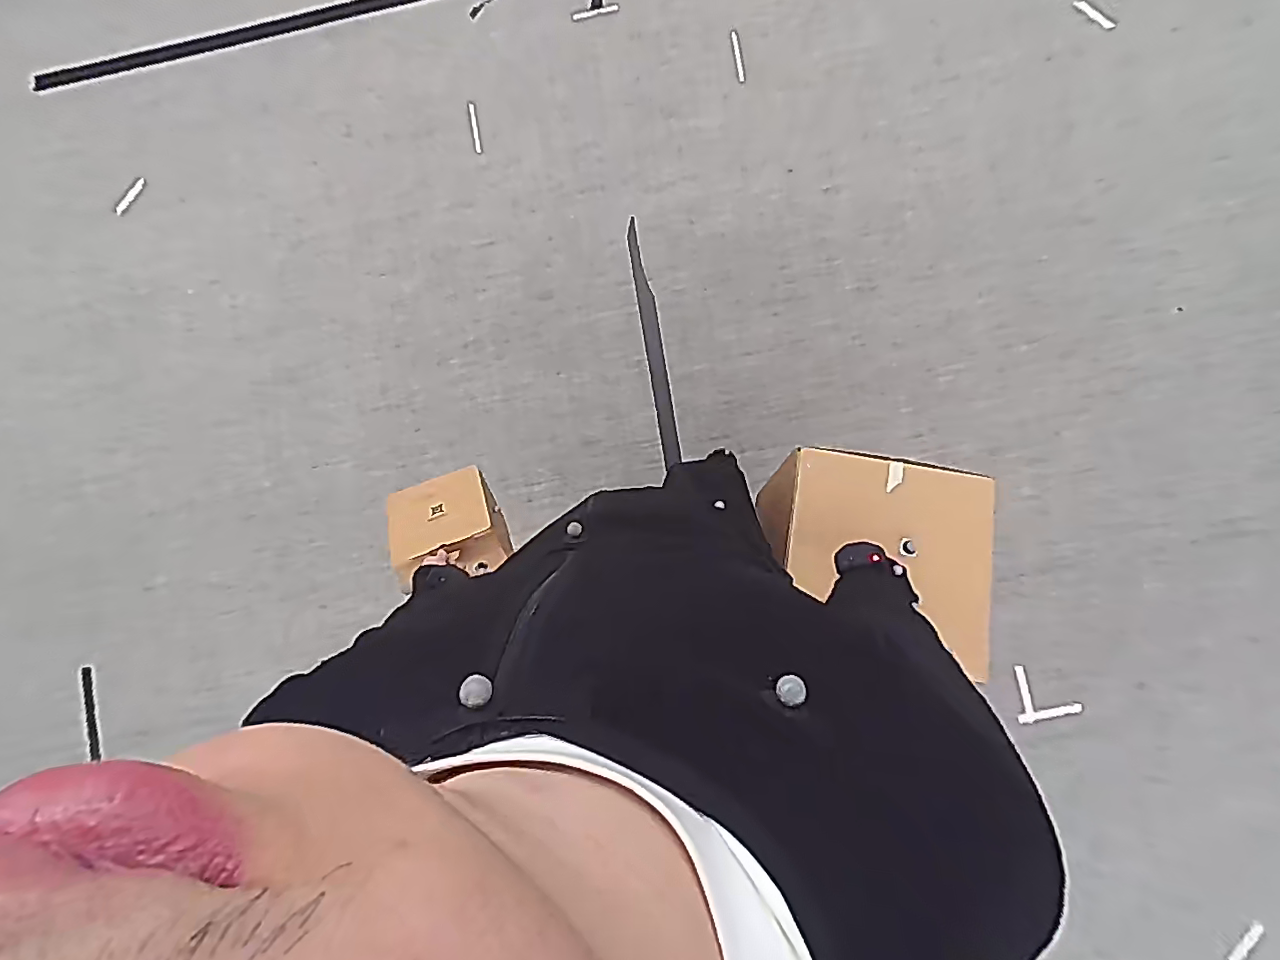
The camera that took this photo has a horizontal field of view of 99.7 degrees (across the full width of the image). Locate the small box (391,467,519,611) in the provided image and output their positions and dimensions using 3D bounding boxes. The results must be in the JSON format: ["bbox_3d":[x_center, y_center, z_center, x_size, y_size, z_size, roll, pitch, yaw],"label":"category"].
[{"bbox_3d":[-0.332,0.114,0.982,0.168,0.176,0.179,-20,45,-9],"label":"small box"}]
